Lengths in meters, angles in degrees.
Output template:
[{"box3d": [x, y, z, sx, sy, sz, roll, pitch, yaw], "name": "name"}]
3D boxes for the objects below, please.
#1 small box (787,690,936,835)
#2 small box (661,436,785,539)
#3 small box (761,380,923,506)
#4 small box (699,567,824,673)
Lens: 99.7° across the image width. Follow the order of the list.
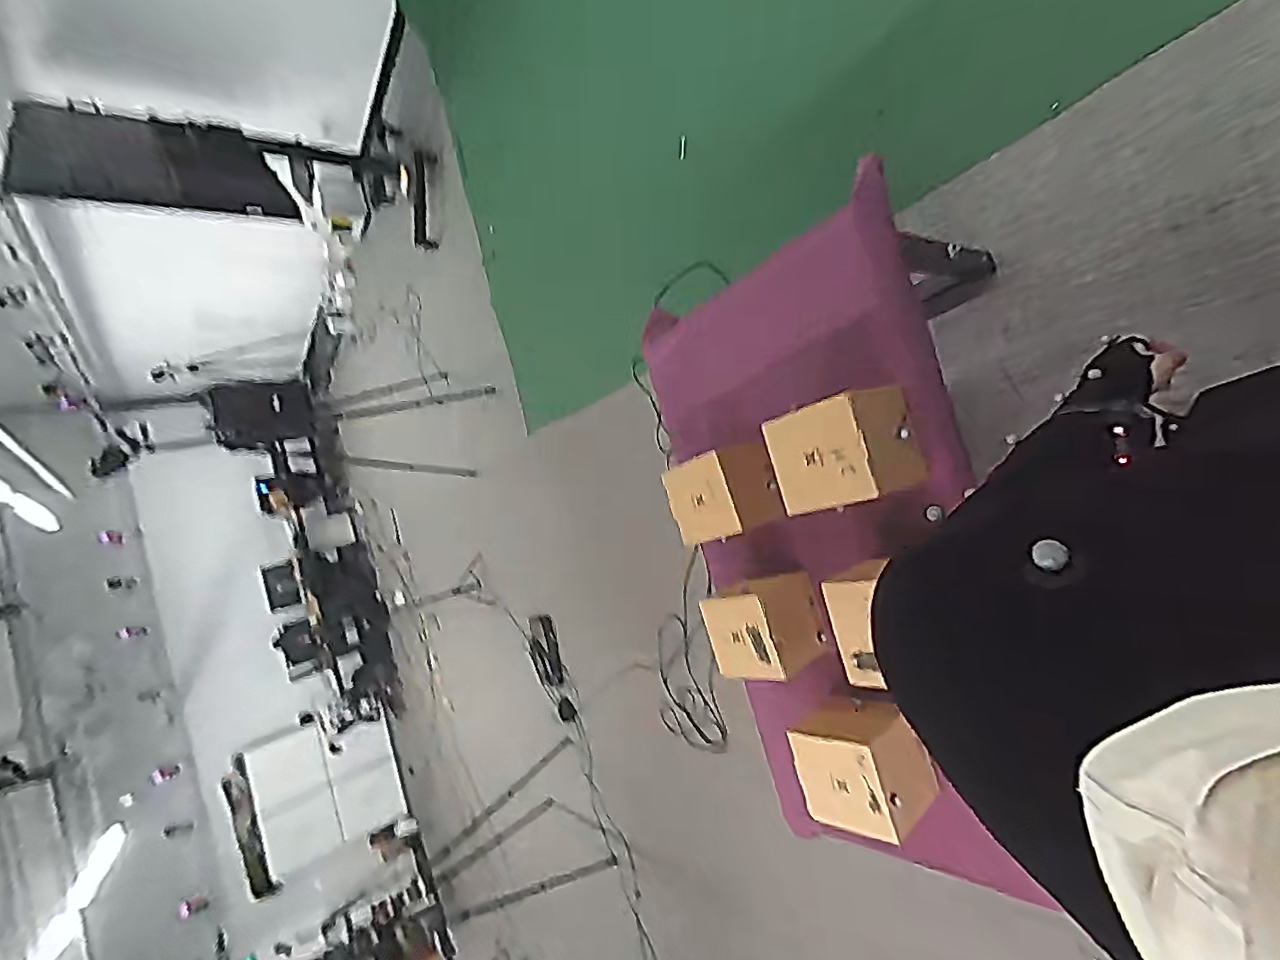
[{"box3d": [0.412, 0.510, 1.009, 0.179, 0.176, 0.168, -21, 86, 51], "name": "small box"}, {"box3d": [0.179, 0.016, 1.152, 0.179, 0.176, 0.168, -24, 83, 50], "name": "small box"}, {"box3d": [0.345, -0.063, 0.925, 0.179, 0.176, 0.168, -20, 86, 52], "name": "small box"}, {"box3d": [0.260, 0.288, 1.132, 0.179, 0.176, 0.168, -23, 82, 51], "name": "small box"}]
